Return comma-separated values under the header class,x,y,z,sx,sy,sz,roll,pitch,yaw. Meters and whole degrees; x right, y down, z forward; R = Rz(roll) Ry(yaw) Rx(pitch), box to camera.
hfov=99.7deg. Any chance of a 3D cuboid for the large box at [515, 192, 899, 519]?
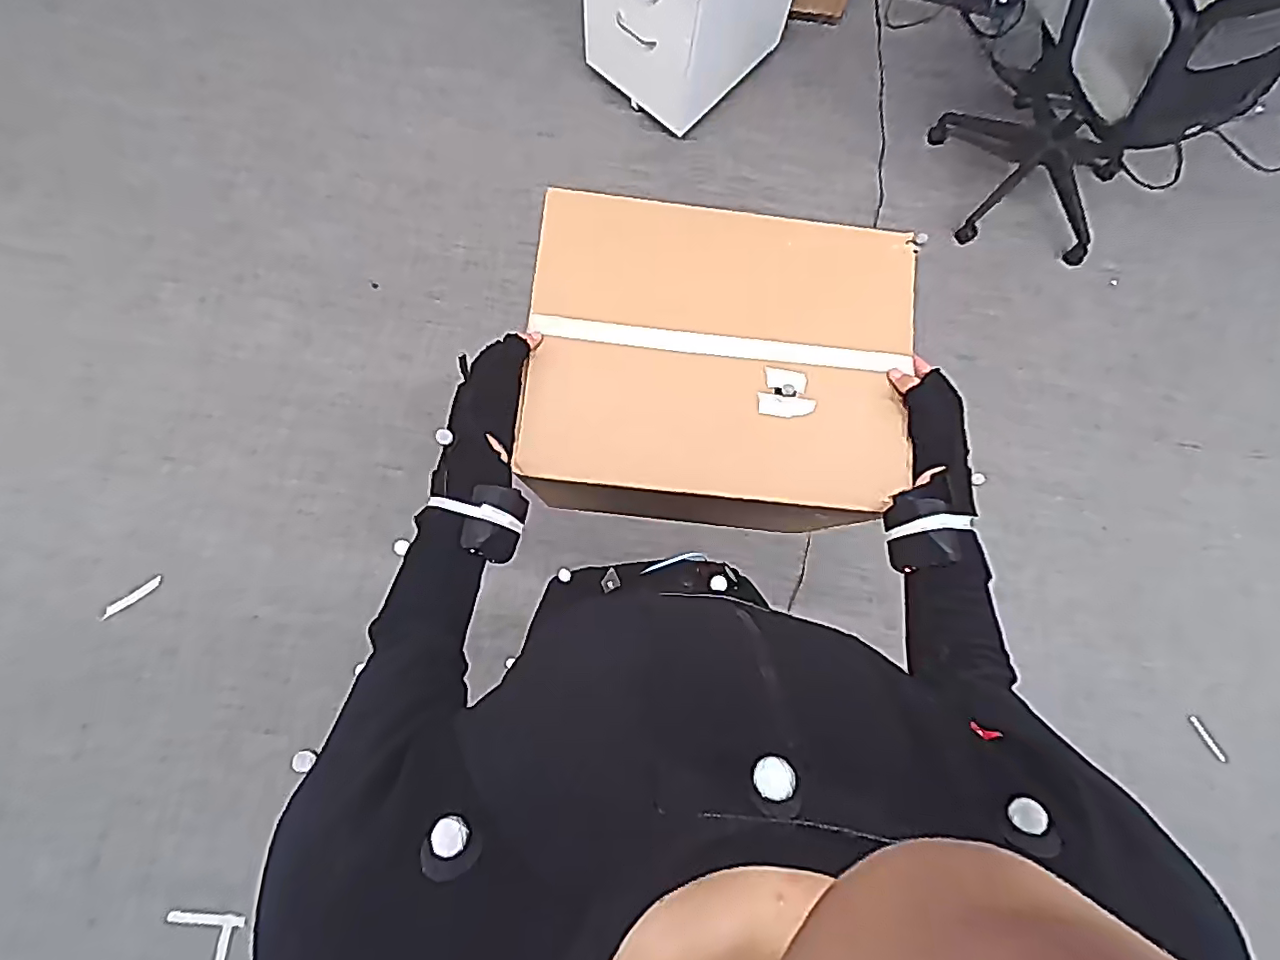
class,x,y,z,sx,sy,sz,roll,pitch,yaw
large box,0.069,-0.126,0.723,0.408,0.320,0.320,6,82,-4
